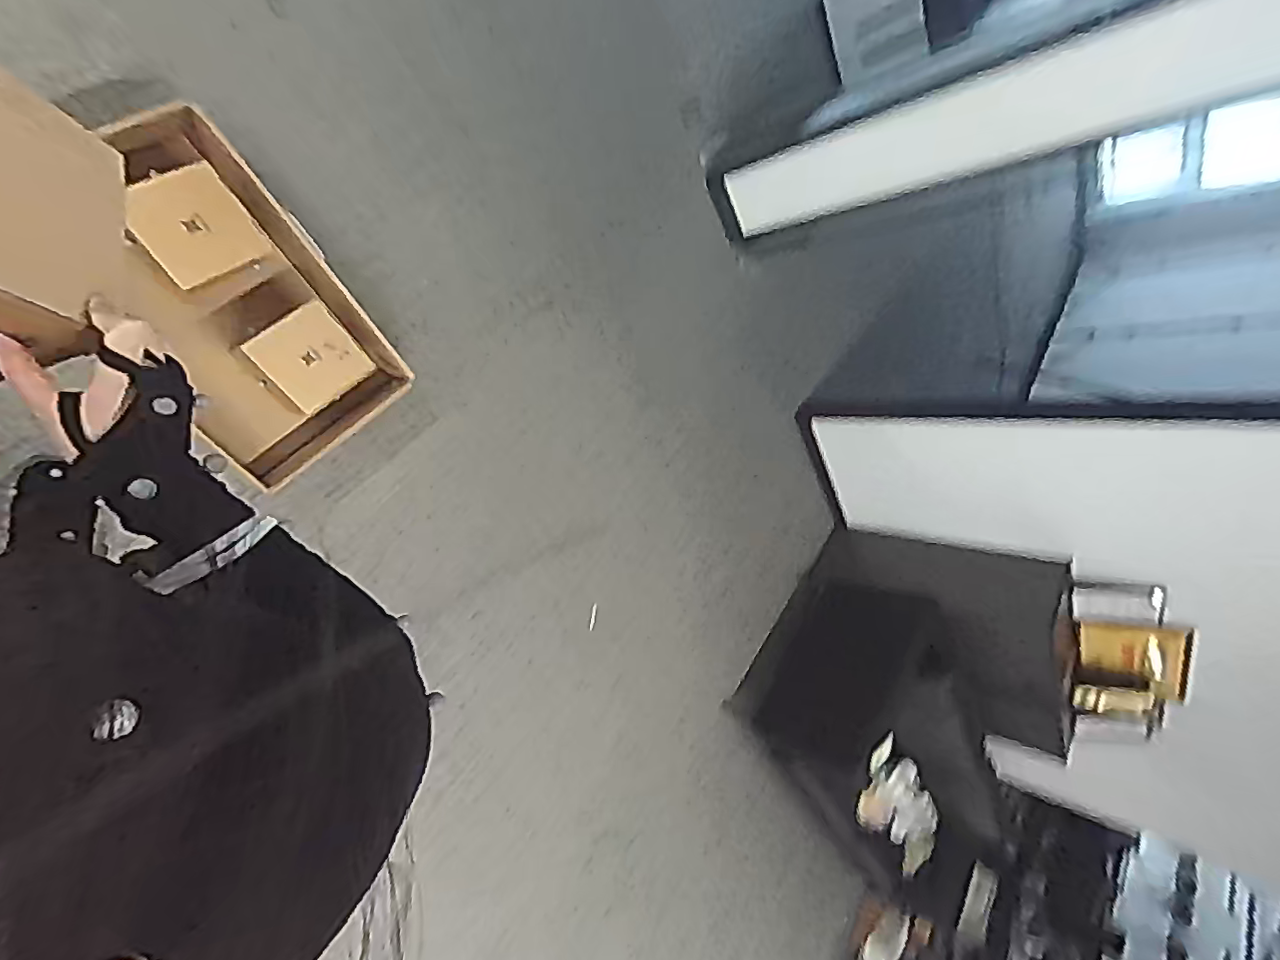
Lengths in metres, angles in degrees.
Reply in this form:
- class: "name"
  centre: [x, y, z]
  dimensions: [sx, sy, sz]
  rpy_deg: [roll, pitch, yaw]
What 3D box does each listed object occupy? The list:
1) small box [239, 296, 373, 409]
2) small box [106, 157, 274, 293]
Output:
- class: "small box"
  centre: [-0.721, -0.268, 1.160]
  dimensions: [0.179, 0.176, 0.168]
  rpy_deg: [-49, 126, -26]
- class: "small box"
  centre: [-0.840, -0.471, 1.019]
  dimensions: [0.179, 0.176, 0.168]
  rpy_deg: [-46, 125, -29]
